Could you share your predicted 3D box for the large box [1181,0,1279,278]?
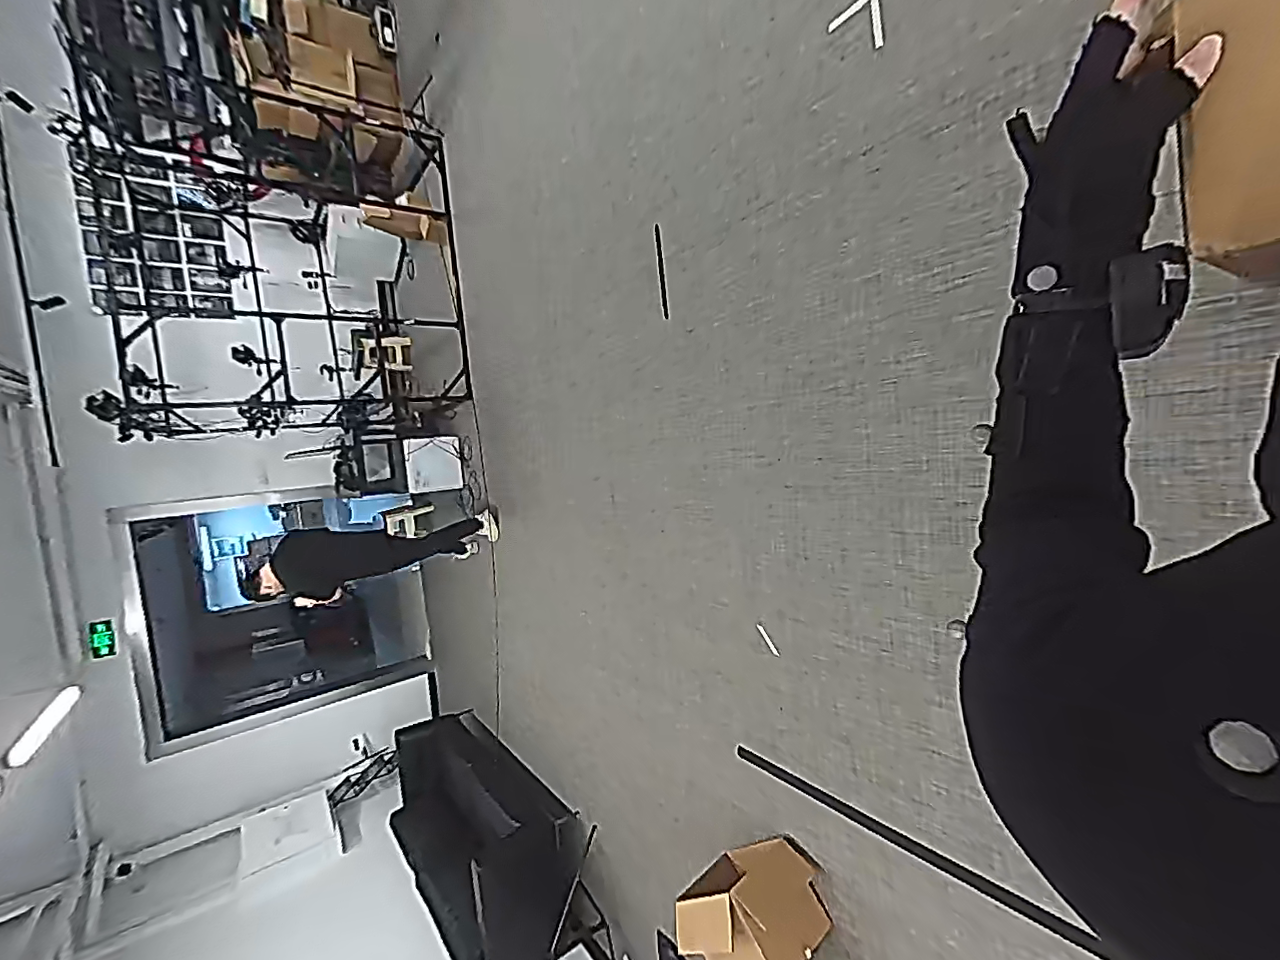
[{"bbox_3d":[0.542,-0.317,0.238,0.408,0.320,0.320,-3,97,54],"label":"large box"}]
